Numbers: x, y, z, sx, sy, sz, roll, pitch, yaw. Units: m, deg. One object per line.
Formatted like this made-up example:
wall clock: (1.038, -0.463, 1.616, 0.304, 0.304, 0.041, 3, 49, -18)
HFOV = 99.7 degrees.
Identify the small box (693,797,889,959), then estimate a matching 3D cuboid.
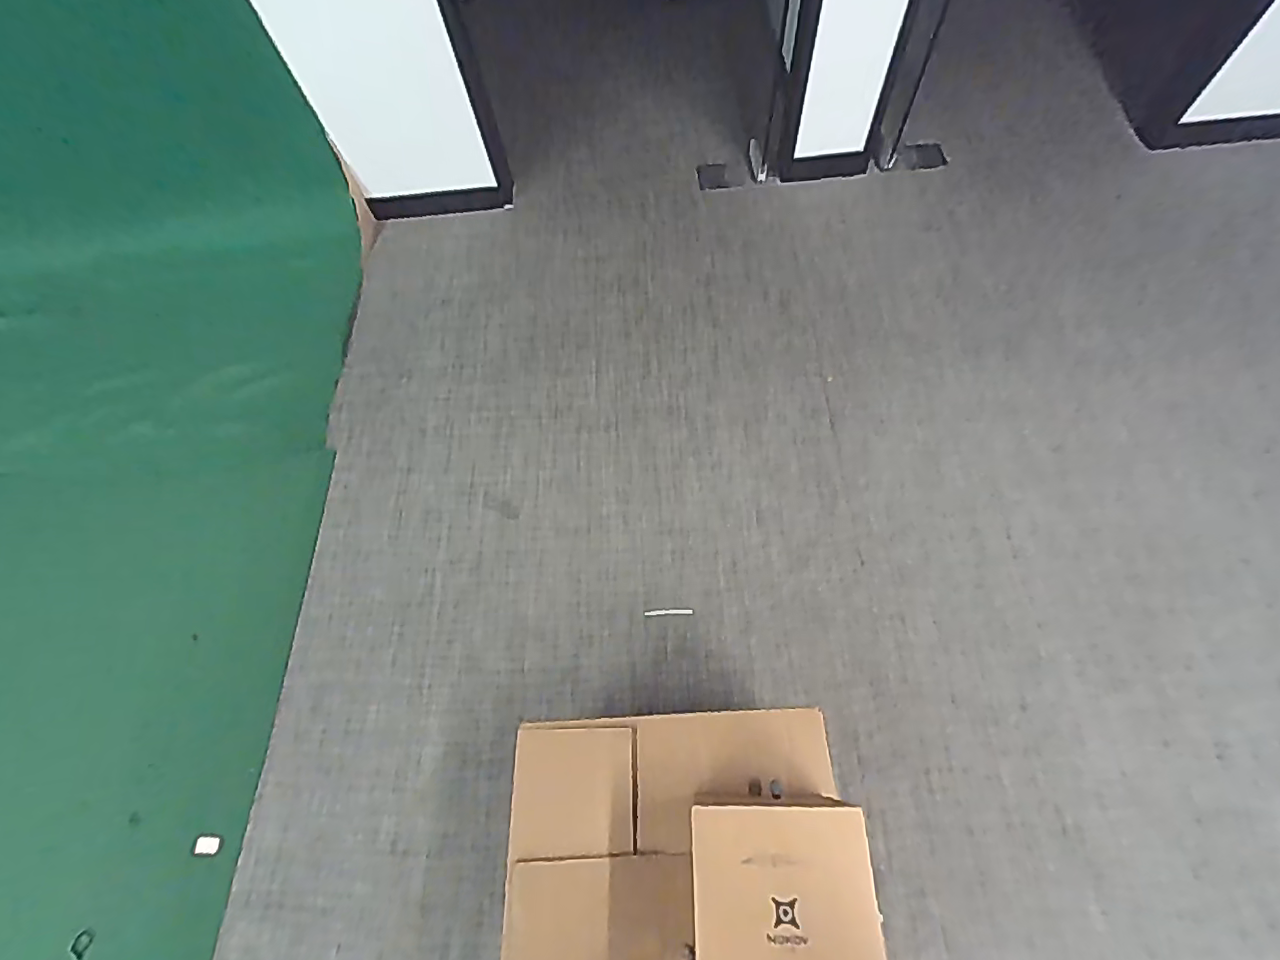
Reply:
small box: (0.141, 0.430, 0.549, 0.168, 0.176, 0.179, -2, 62, 5)
